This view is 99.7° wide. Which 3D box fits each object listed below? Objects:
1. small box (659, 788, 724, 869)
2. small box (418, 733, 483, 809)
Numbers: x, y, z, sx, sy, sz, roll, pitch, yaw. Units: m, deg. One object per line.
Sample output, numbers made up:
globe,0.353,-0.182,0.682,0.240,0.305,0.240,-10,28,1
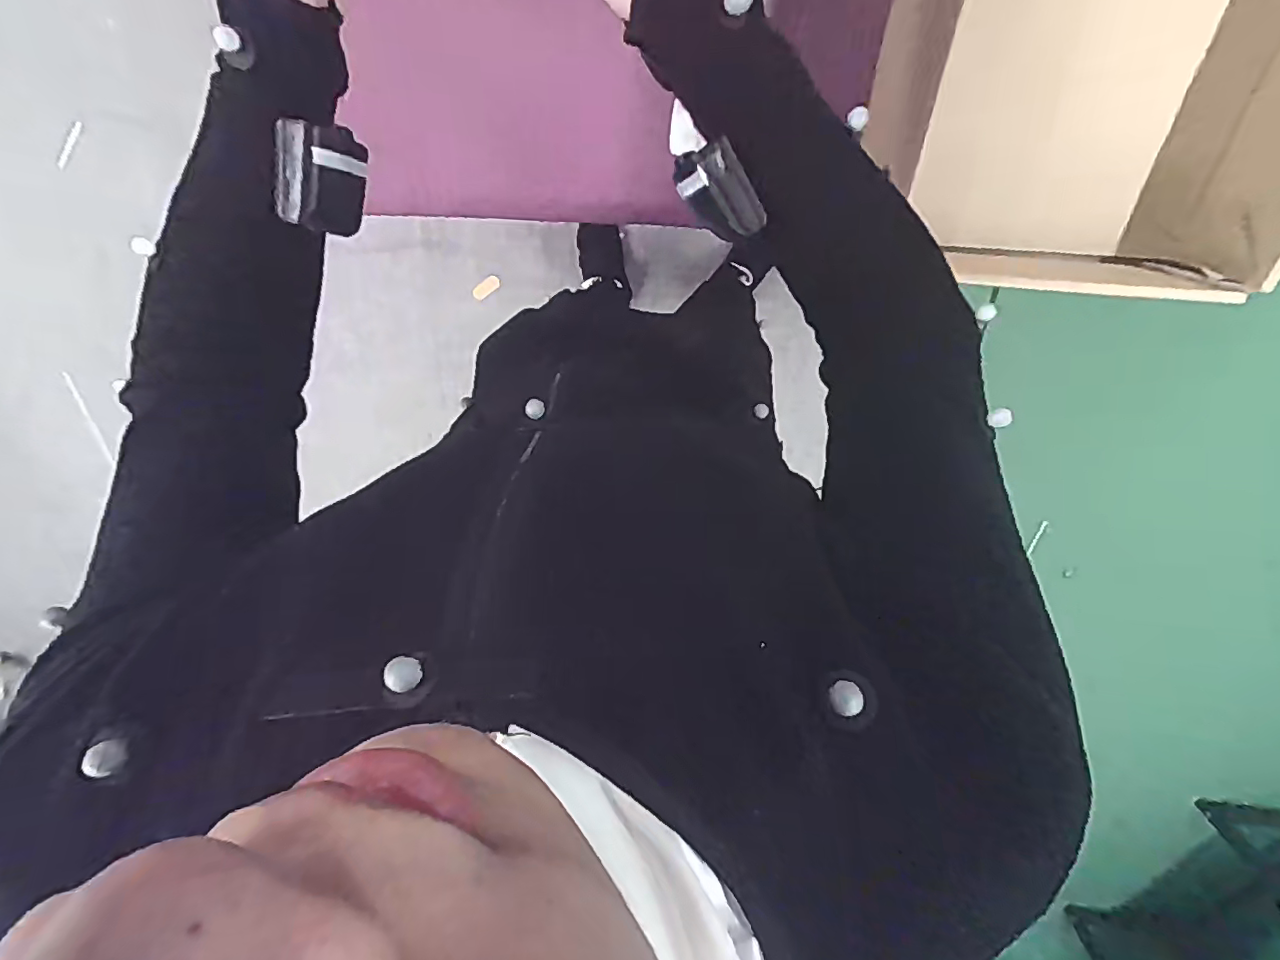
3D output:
small box,0.176,1.197,1.859,0.179,0.176,0.168,-20,118,14
small box,-0.710,1.097,2.040,0.168,0.176,0.179,23,118,-10
